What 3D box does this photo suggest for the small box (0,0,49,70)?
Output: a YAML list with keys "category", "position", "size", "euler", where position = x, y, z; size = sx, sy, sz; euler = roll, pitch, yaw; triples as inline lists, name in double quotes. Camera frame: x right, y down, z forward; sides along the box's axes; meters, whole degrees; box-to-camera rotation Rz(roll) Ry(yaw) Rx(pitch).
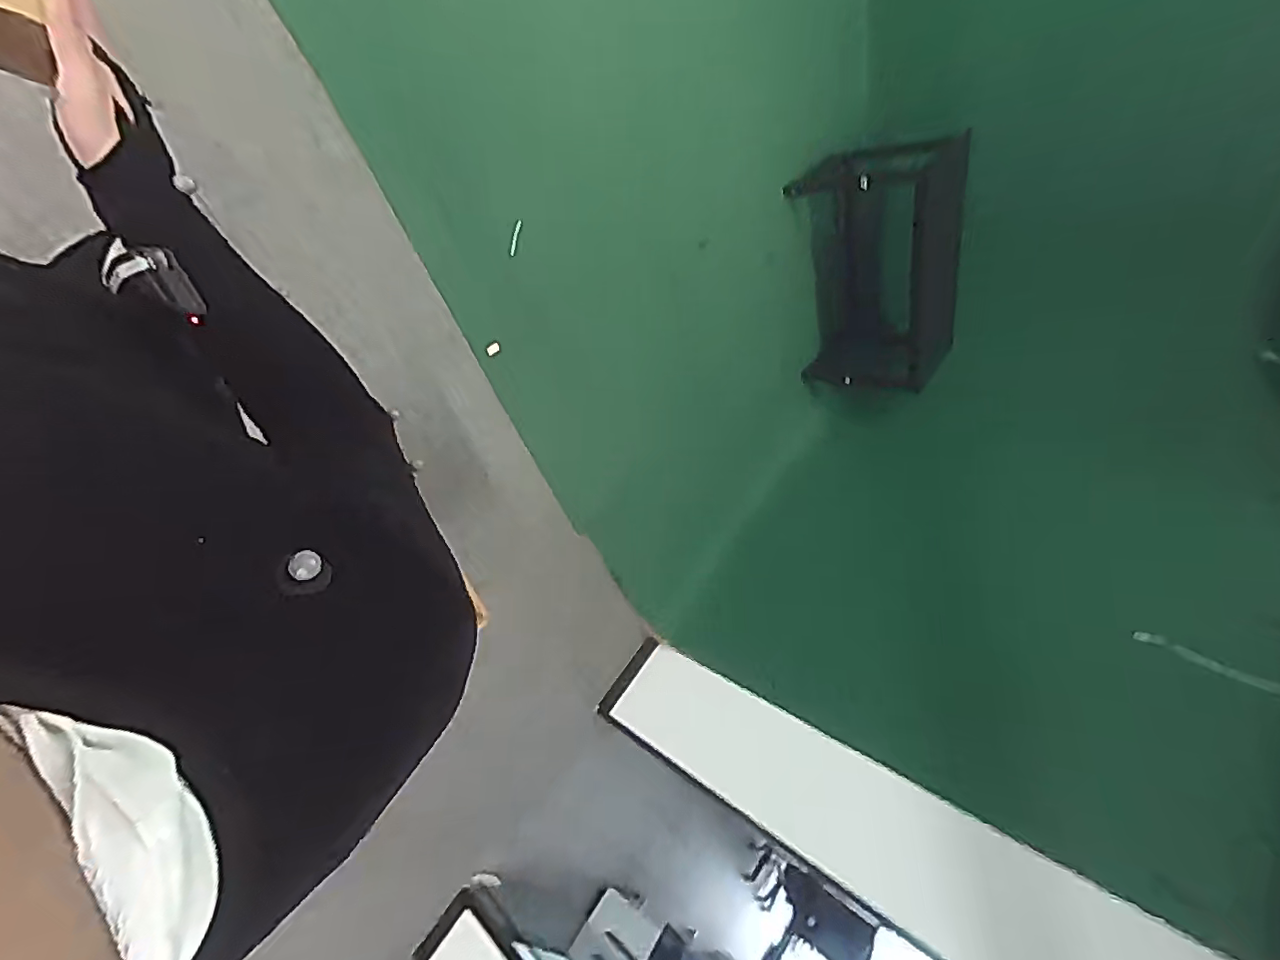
- category: "small box"
  position: [-0.499, -0.411, 0.341]
  size: [0.168, 0.176, 0.179]
  euler: [-3, 106, -46]
